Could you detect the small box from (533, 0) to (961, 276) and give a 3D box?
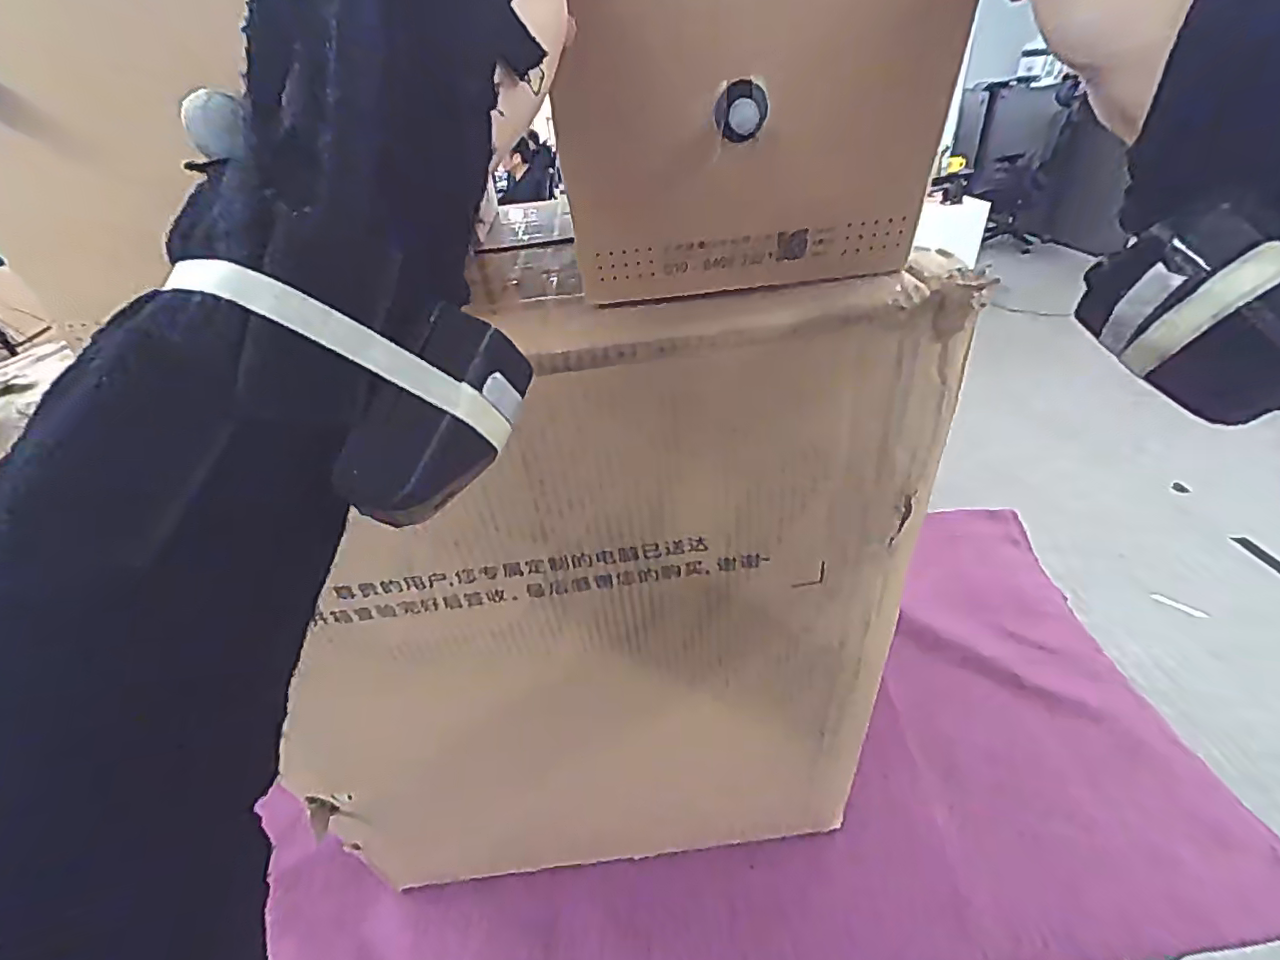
[{"bbox_3d":[0.043,-0.217,0.273,0.168,0.176,0.179,-5,47,3],"label":"small box"}]
